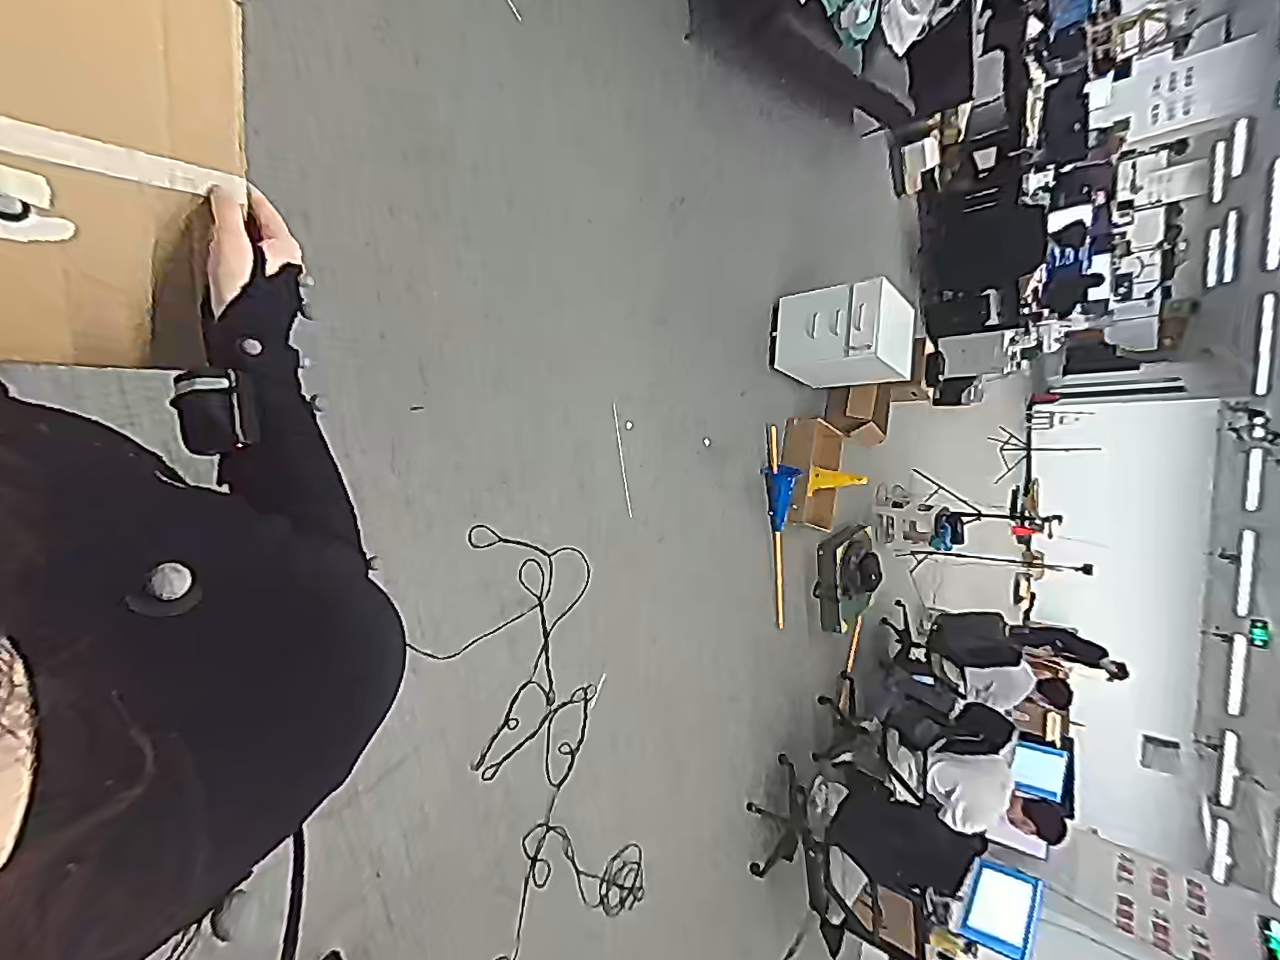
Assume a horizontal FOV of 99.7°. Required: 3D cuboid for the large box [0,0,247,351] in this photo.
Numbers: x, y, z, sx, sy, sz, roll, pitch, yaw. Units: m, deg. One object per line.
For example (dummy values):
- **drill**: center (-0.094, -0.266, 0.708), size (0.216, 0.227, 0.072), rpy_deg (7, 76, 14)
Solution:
- **large box**: center (-0.581, -0.290, 0.404), size (0.408, 0.320, 0.320), rpy_deg (-9, 117, -48)
